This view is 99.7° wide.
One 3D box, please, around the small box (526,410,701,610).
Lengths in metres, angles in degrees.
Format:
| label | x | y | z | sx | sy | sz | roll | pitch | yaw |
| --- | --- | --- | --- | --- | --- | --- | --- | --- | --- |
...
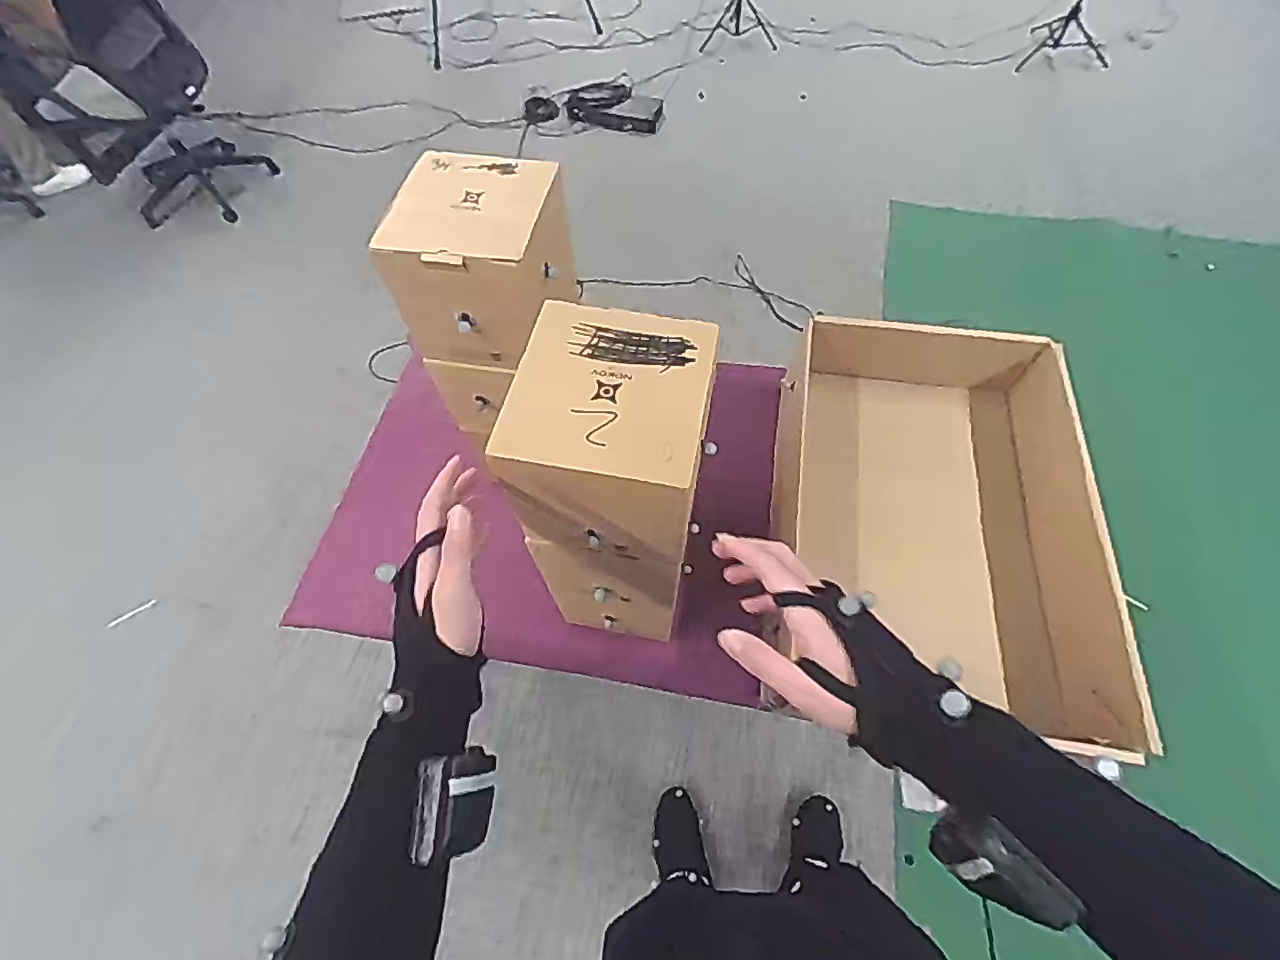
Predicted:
| label | x | y | z | sx | sy | sz | roll | pitch | yaw |
| --- | --- | --- | --- | --- | --- | --- | --- | --- | --- |
| small box | -0.023 | 0.042 | 0.669 | 0.168 | 0.176 | 0.179 | 9 | 62 | 7 |

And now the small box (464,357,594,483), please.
| label | x | y | z | sx | sy | sz | roll | pitch | yaw |
| --- | --- | --- | --- | --- | --- | --- | --- | --- | --- |
| small box | -0.178 | -0.103 | 0.942 | 0.168 | 0.176 | 0.179 | 9 | 62 | 6 |

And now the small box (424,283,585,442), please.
| label | x | y | z | sx | sy | sz | roll | pitch | yaw |
| --- | --- | --- | --- | --- | --- | --- | --- | --- | --- |
| small box | -0.183 | -0.177 | 0.798 | 0.168 | 0.176 | 0.179 | 9 | 62 | 6 |

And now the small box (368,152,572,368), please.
| label | x | y | z | sx | sy | sz | roll | pitch | yaw |
| --- | --- | --- | --- | --- | --- | --- | --- | --- | --- |
| small box | -0.185 | -0.259 | 0.656 | 0.168 | 0.176 | 0.179 | 8 | 62 | 5 |

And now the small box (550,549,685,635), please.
| label | x | y | z | sx | sy | sz | roll | pitch | yaw |
| --- | --- | --- | --- | --- | --- | --- | --- | --- | --- |
| small box | -0.021 | 0.120 | 0.812 | 0.168 | 0.176 | 0.179 | 10 | 62 | 6 |
